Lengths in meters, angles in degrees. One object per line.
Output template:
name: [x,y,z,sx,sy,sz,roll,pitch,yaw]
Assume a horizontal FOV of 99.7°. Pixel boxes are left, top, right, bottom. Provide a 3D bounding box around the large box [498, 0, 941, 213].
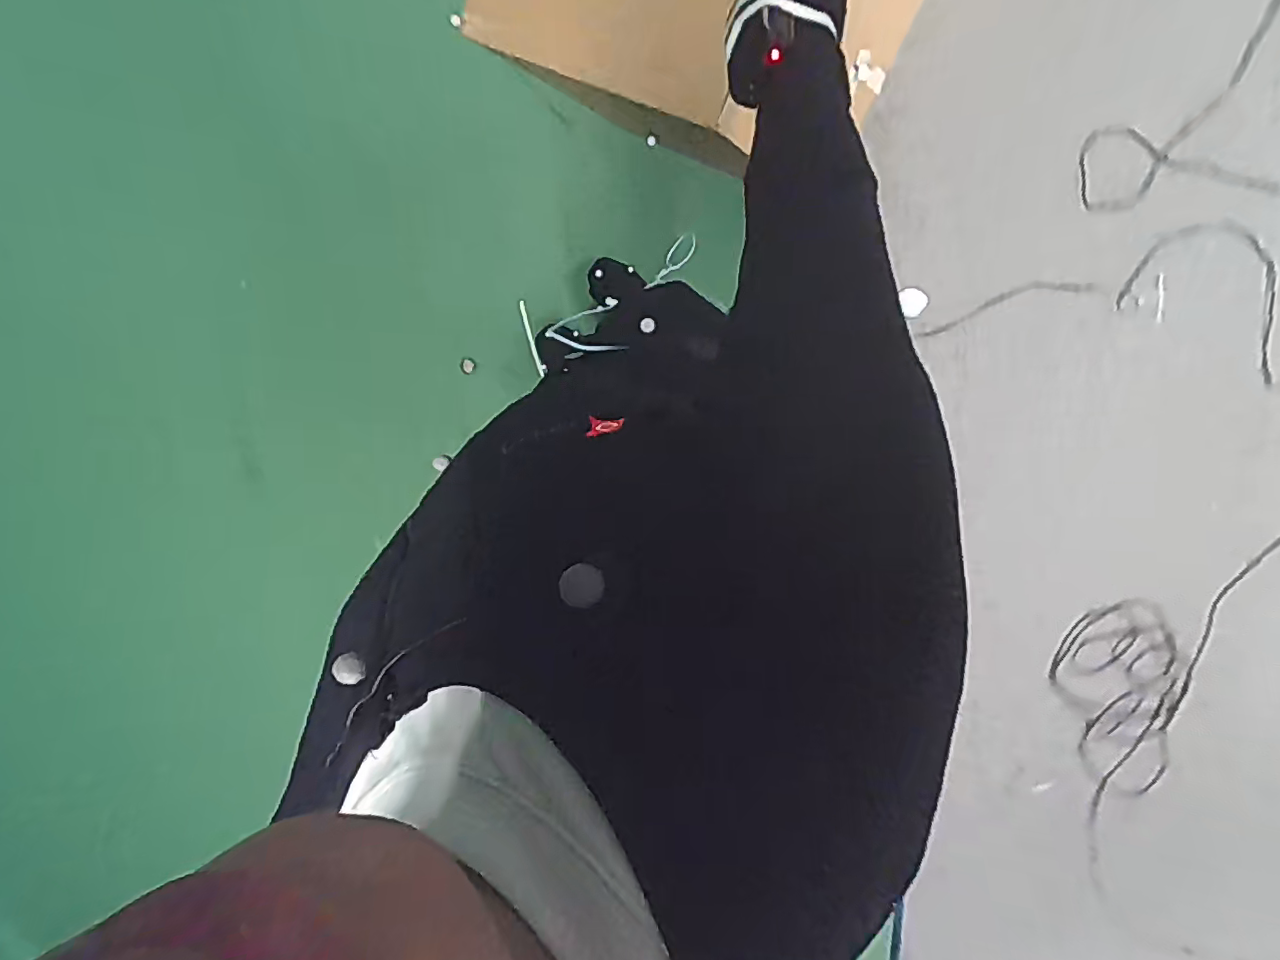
large box: [0.103,-0.584,0.668,0.408,0.320,0.320,39,117,25]
